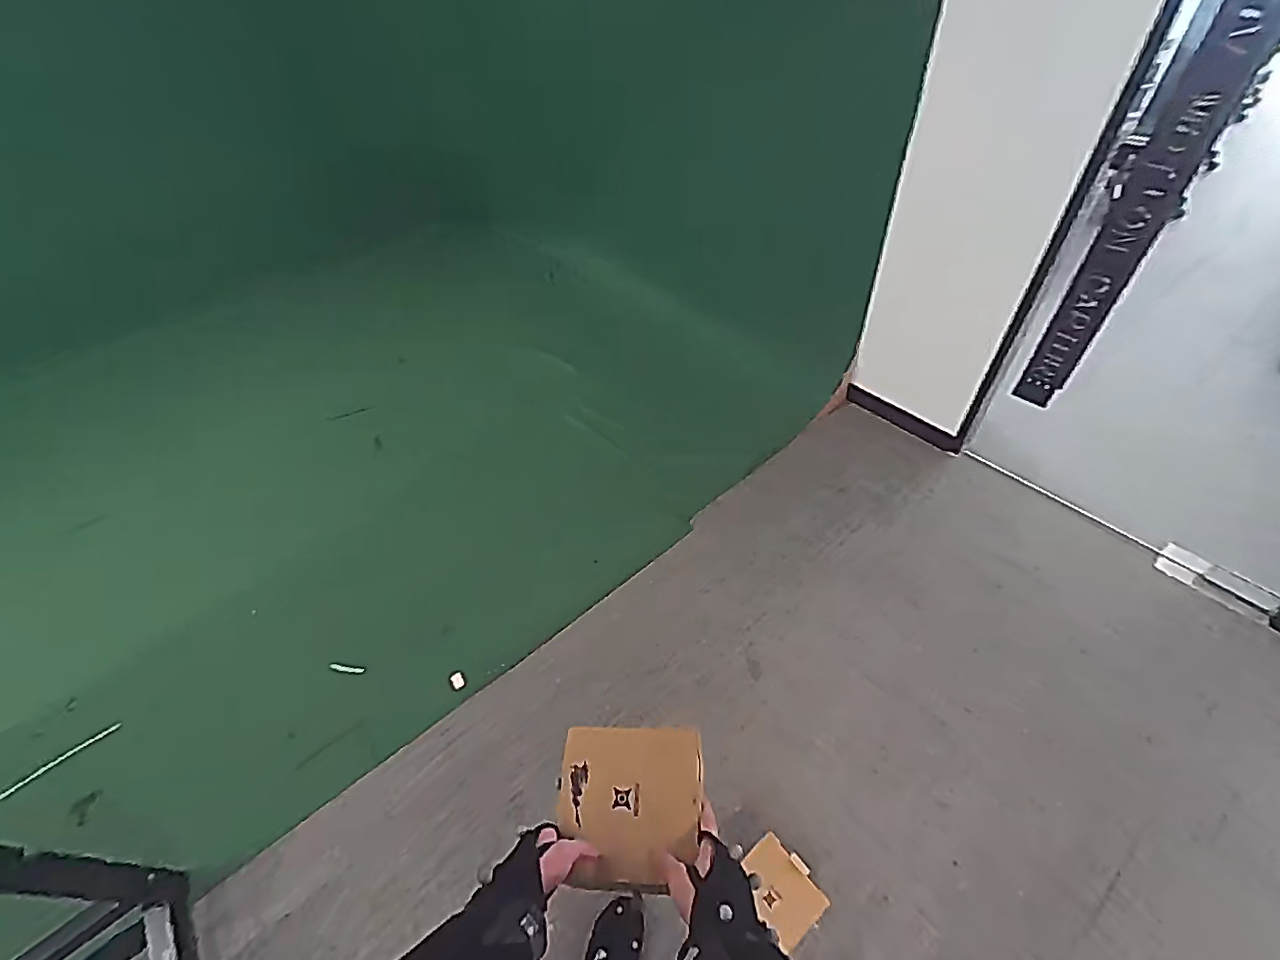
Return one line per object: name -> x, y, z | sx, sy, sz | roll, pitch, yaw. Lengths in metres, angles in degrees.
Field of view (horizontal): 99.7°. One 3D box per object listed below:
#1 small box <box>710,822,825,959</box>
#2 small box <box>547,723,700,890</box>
small box -> 0.266, 0.884, 1.163 | 0.179, 0.176, 0.168 | -32, 52, -19
small box -> -0.010, 0.437, 0.720 | 0.179, 0.176, 0.168 | -1, 50, 6
